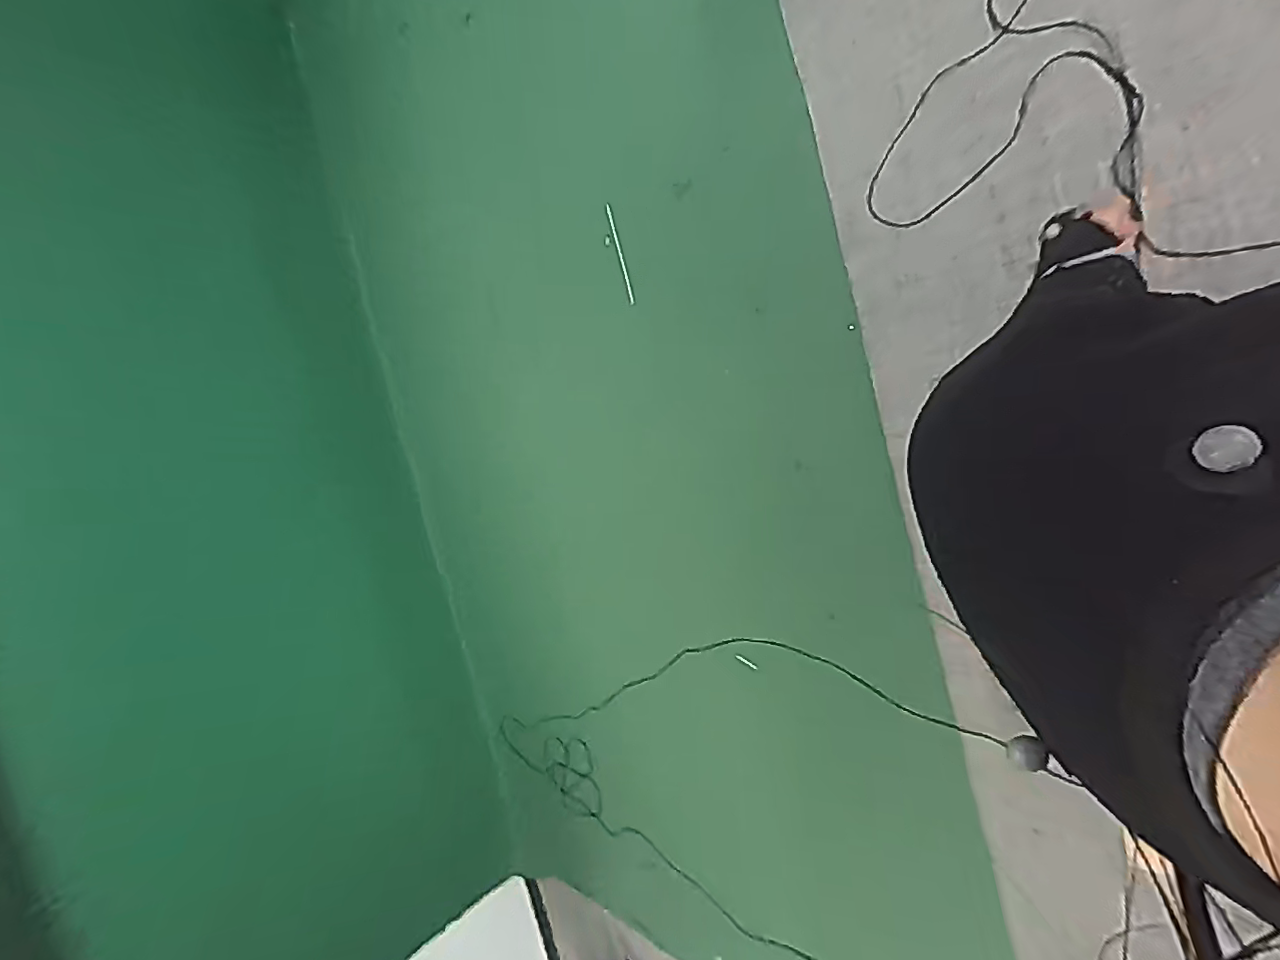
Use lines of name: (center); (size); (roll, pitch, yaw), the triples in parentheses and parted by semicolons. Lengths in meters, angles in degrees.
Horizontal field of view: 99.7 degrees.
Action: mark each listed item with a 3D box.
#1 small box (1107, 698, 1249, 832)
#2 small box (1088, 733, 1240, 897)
small box: (1.072, 0.559, 1.090); (0.179, 0.176, 0.168); (-16, 89, 45)
small box: (0.948, 0.591, 0.985); (0.168, 0.176, 0.179); (-16, 90, 46)
